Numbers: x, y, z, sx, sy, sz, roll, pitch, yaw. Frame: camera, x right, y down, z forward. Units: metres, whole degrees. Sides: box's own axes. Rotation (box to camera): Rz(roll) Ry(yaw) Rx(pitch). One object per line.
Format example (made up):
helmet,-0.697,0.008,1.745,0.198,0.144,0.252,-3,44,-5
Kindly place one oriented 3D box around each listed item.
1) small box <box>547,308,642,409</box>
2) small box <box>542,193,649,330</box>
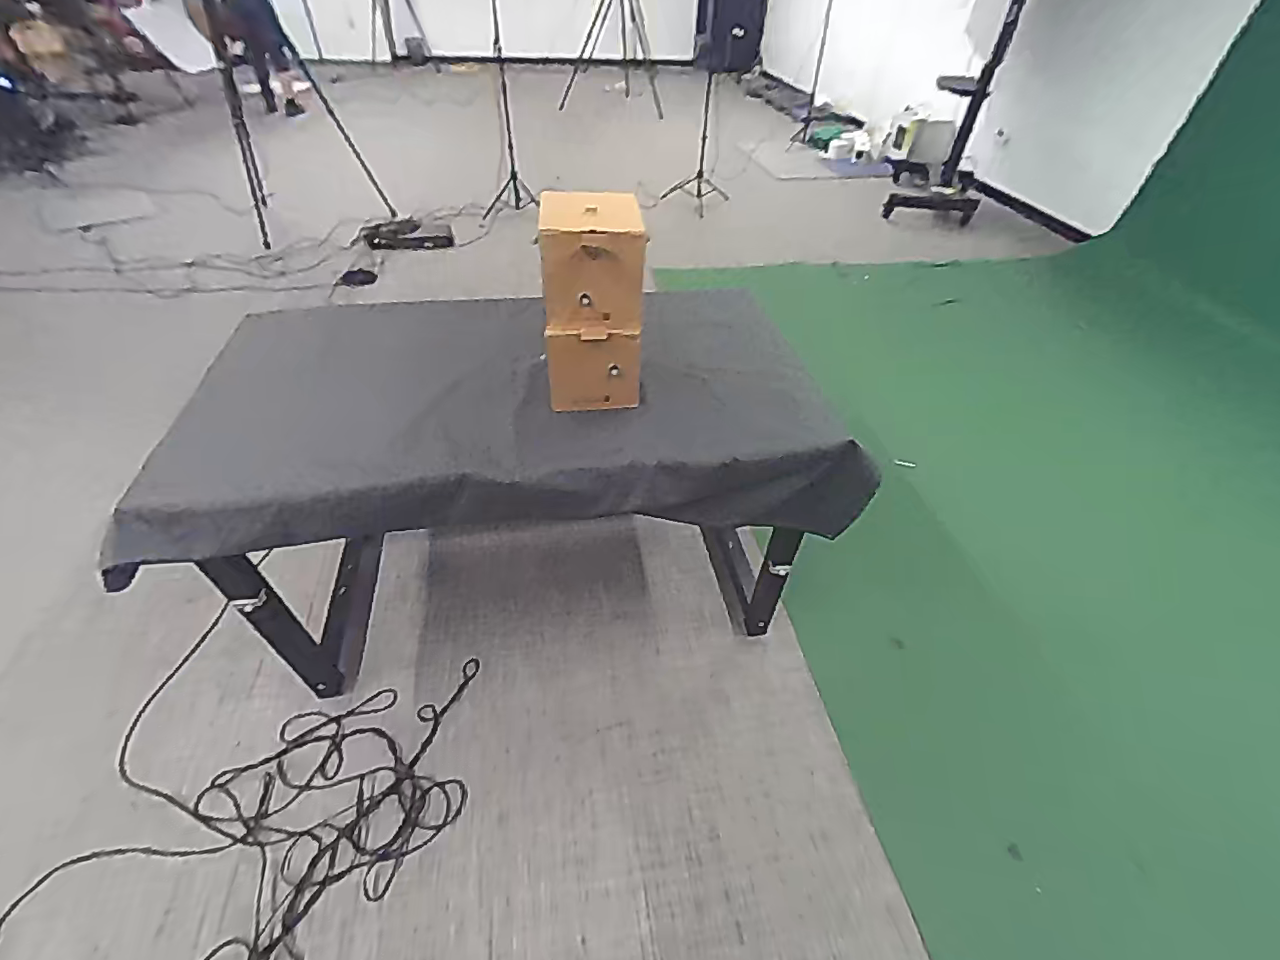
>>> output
small box,-0.088,-0.247,1.035,0.168,0.176,0.179,-3,44,-7
small box,-0.080,-0.374,0.933,0.168,0.176,0.179,-2,46,-7
